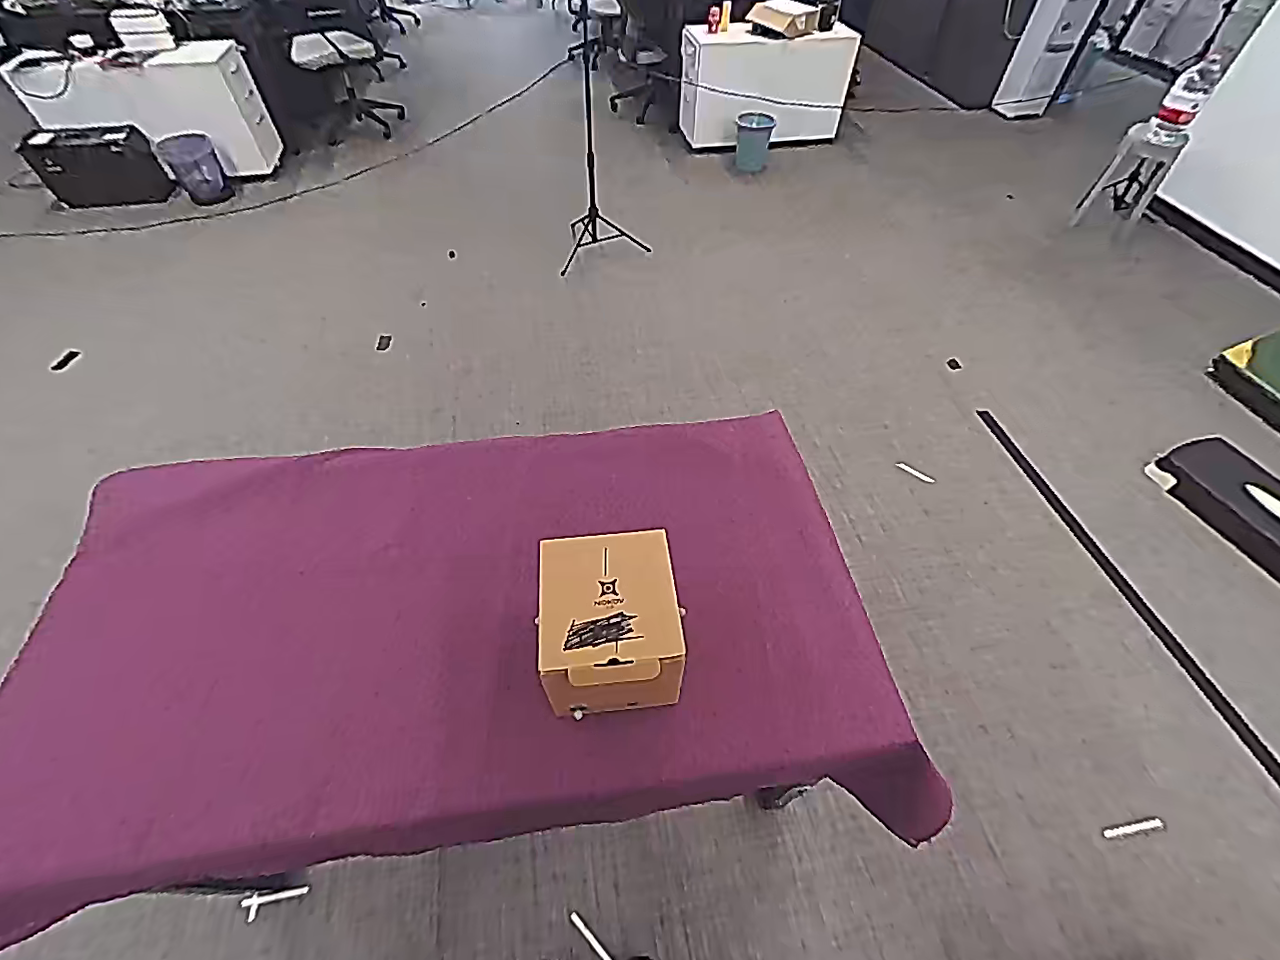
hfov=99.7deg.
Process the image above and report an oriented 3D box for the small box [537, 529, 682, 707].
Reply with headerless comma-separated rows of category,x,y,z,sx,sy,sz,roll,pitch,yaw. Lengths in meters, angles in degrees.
small box,-0.039,0.188,0.714,0.168,0.176,0.179,-4,51,-4
